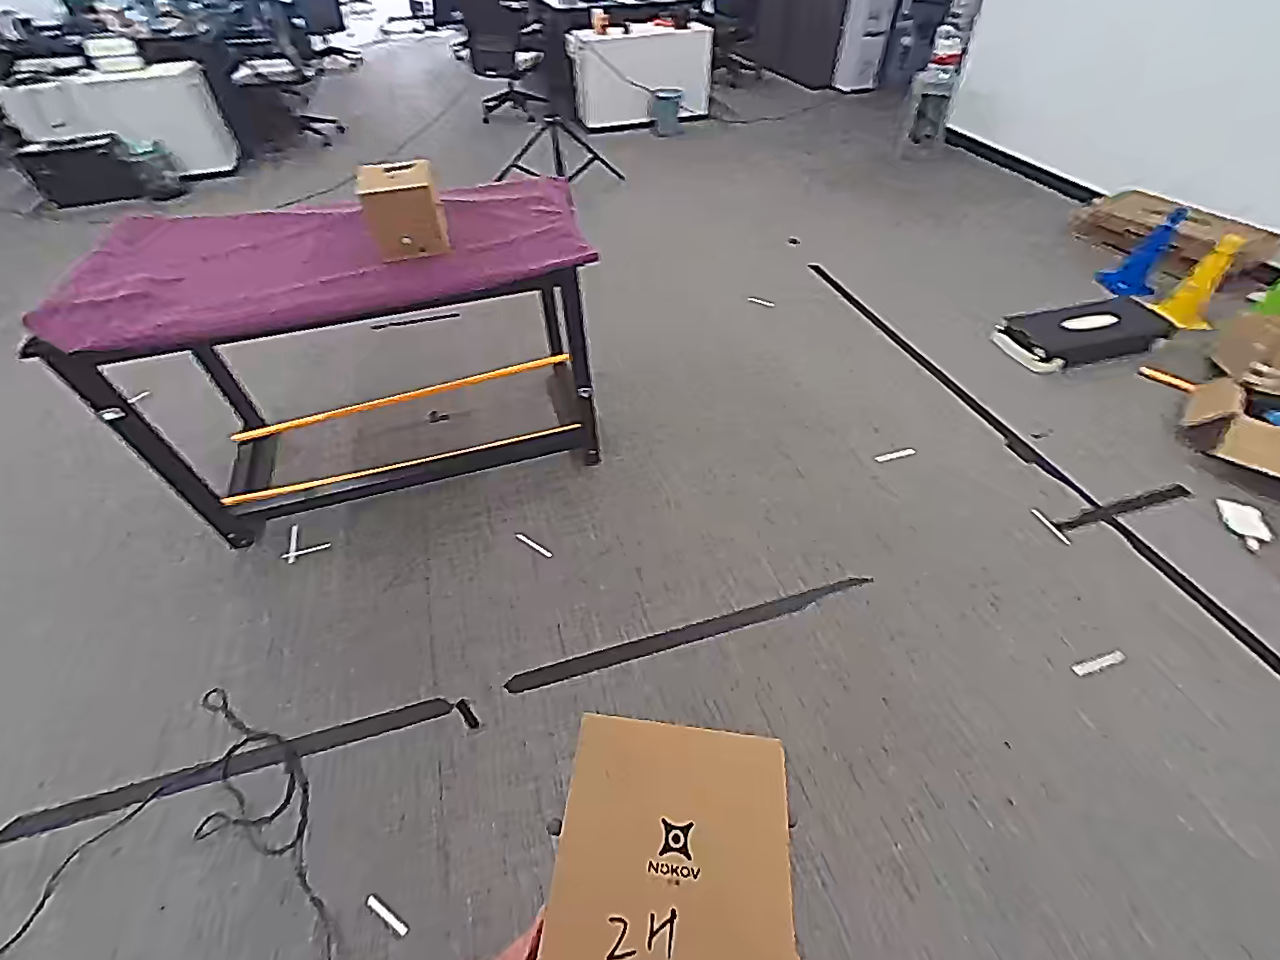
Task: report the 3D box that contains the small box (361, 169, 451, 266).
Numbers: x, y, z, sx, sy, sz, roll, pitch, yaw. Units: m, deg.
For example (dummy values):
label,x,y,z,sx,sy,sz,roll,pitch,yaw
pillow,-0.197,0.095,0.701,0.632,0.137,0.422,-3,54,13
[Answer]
label,x,y,z,sx,sy,sz,roll,pitch,yaw
small box,-0.588,-0.668,1.376,0.168,0.176,0.179,-13,49,-9

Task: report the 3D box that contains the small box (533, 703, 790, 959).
label,x,y,z,sx,sy,sz,roll,pitch,yaw
small box,0.019,0.312,0.447,0.168,0.176,0.179,6,48,3
